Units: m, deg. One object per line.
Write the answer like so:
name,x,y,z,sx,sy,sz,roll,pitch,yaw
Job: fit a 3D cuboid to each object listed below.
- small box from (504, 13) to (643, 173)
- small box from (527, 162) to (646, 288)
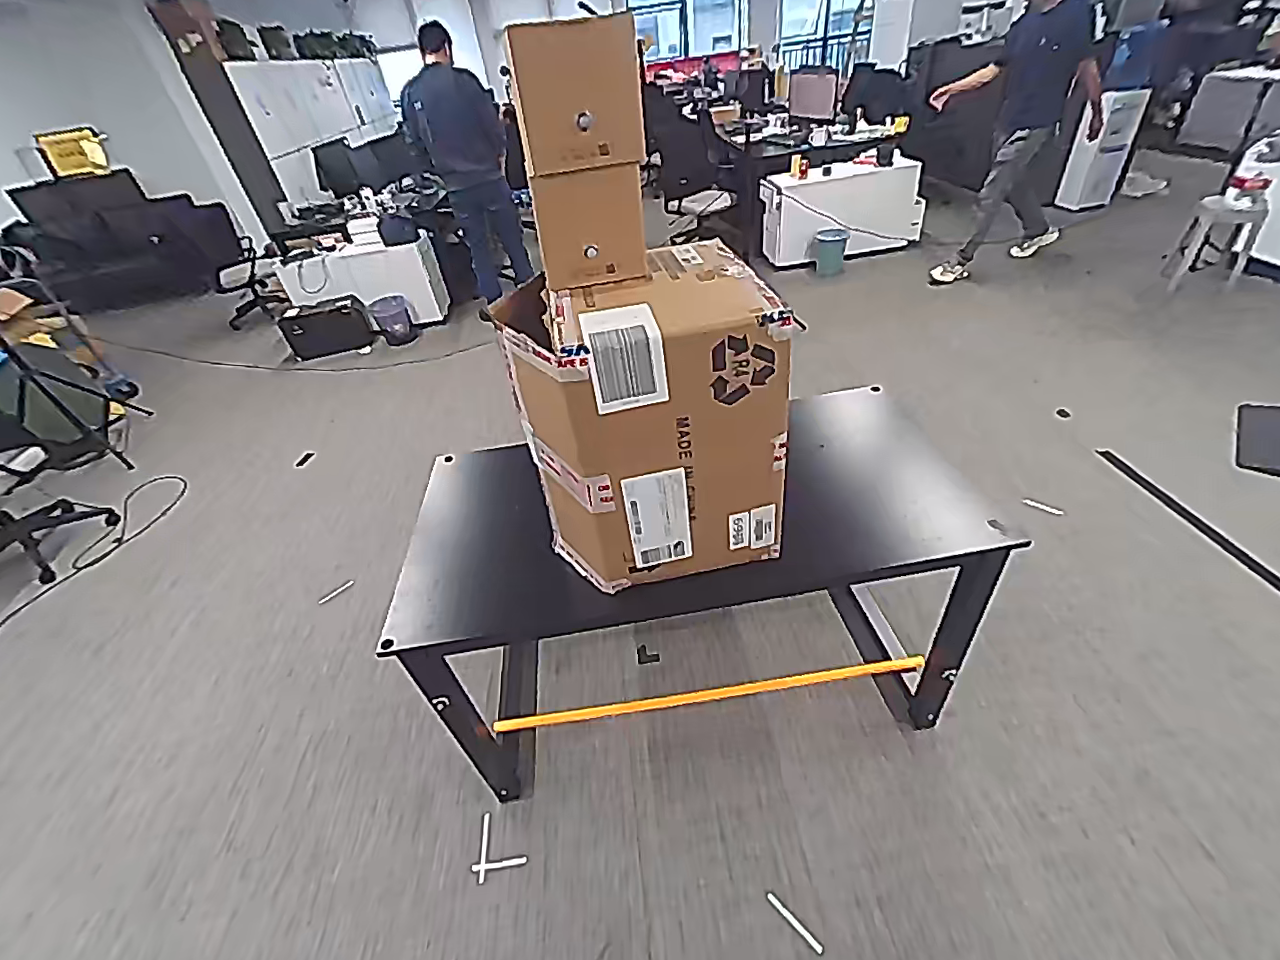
small box,-0.098,-0.561,0.796,0.168,0.176,0.179,-13,37,-7
small box,-0.090,-0.432,0.900,0.168,0.176,0.179,-11,37,-6
